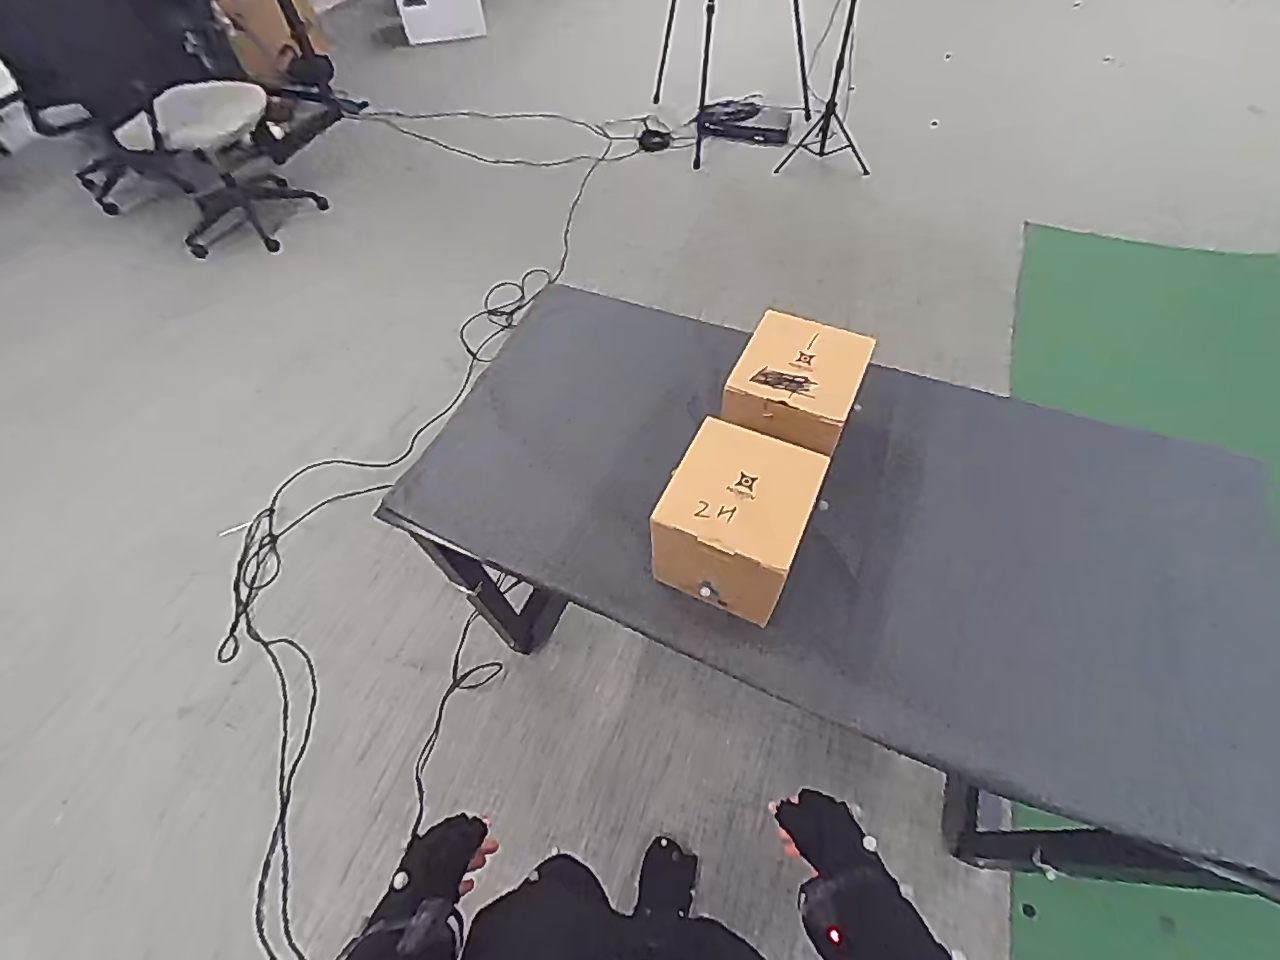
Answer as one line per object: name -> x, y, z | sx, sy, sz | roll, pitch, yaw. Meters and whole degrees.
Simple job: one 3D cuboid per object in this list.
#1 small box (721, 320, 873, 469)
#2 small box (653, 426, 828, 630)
small box -> 0.228, -0.106, 0.821 | 0.168, 0.176, 0.179 | 22, 60, 17
small box -> 0.125, 0.066, 0.710 | 0.168, 0.176, 0.179 | 21, 59, 17
